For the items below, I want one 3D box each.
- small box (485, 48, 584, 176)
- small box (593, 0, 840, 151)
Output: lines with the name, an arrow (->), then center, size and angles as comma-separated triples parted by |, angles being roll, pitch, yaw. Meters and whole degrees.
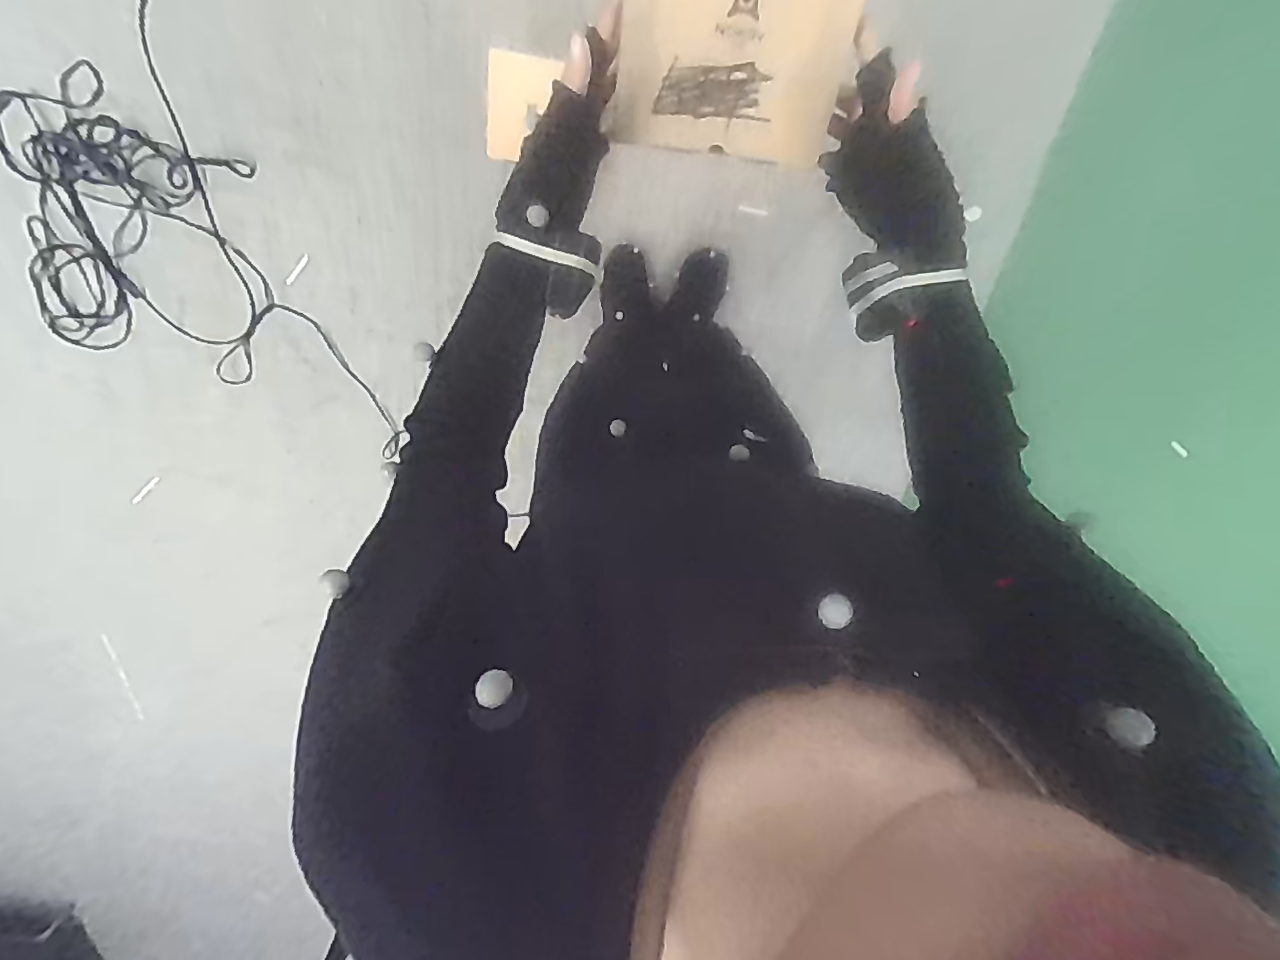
small box -> -0.208, -0.729, 1.090 | 0.168, 0.176, 0.179 | 9, 117, -3
small box -> 0.058, -0.387, 0.427 | 0.168, 0.176, 0.179 | 6, 130, -5
